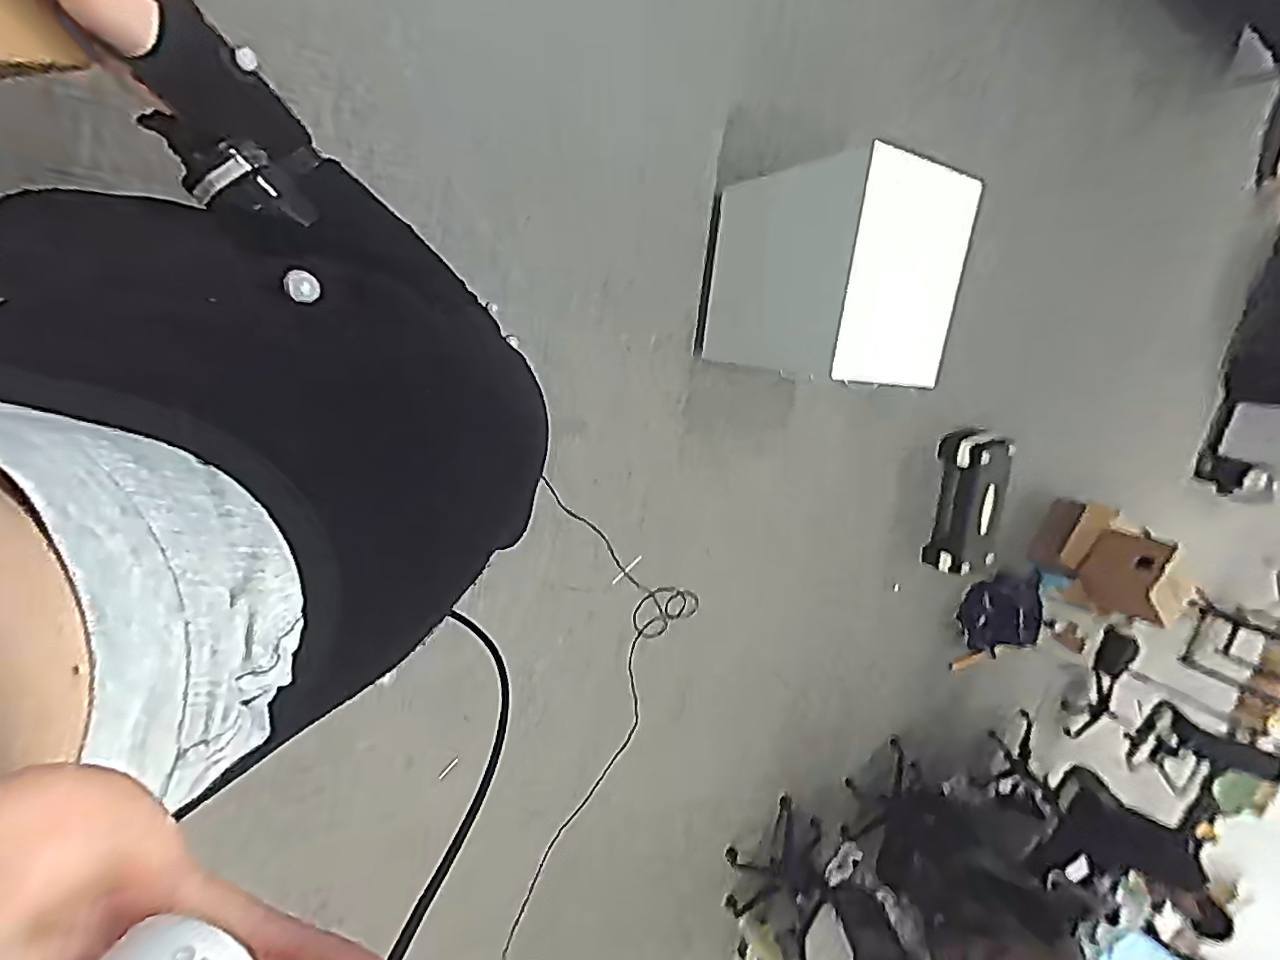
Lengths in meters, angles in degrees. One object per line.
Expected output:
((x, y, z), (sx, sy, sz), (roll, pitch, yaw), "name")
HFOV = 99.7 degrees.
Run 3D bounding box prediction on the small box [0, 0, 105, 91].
((-0.395, -0.257, 0.211), (0.168, 0.176, 0.179), (-10, 128, -3), "small box")
